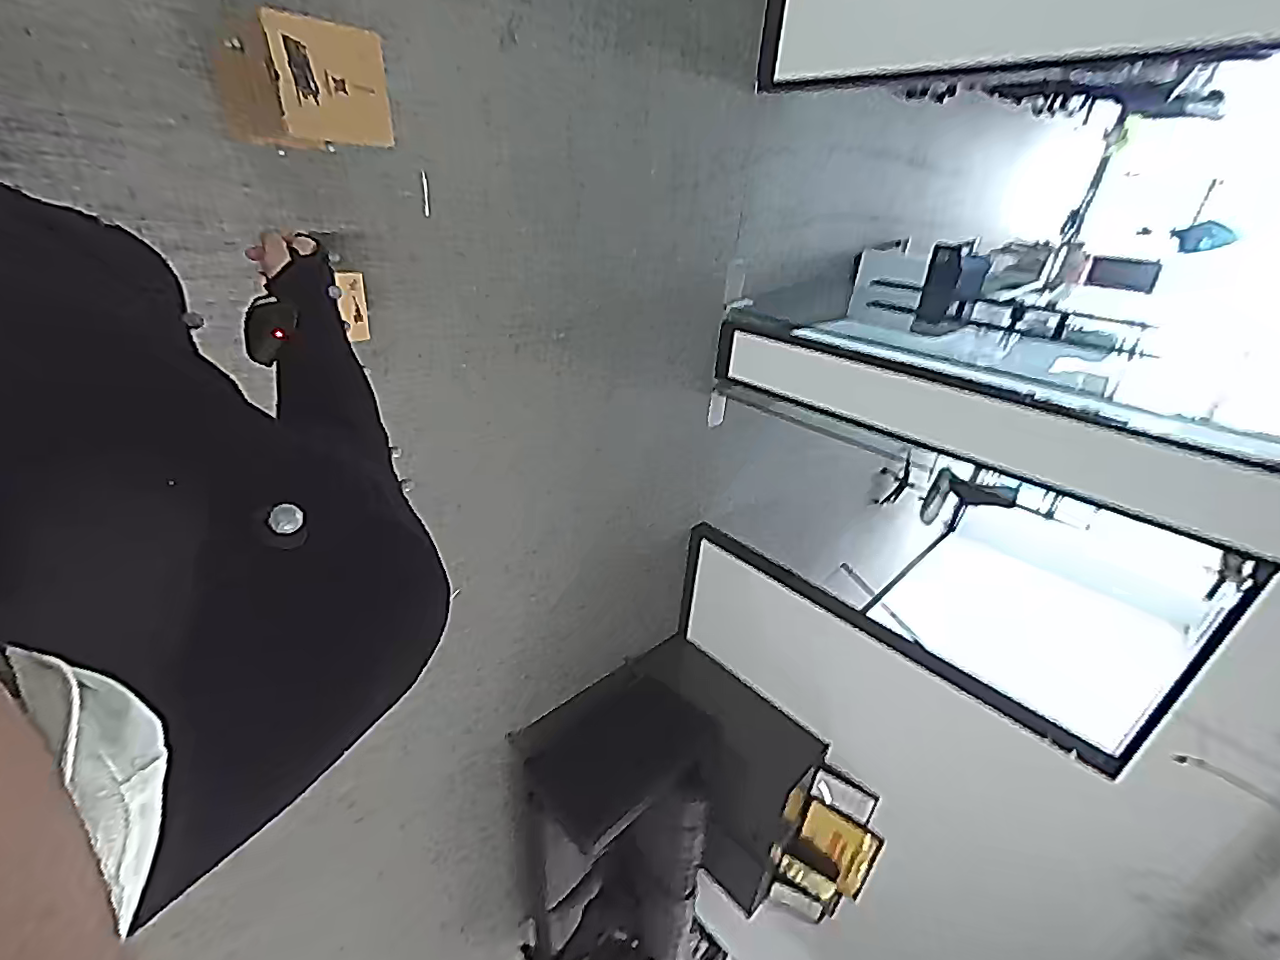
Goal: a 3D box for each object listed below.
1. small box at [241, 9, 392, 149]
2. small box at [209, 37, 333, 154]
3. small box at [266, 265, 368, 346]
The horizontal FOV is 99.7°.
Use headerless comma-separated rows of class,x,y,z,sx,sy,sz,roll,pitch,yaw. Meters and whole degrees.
small box,-0.563,-0.679,0.939,0.179,0.176,0.168,-23,128,-40
small box,-0.783,-0.805,1.149,0.168,0.176,0.179,-21,128,-40
small box,-0.806,-0.437,1.345,0.179,0.176,0.168,-19,126,-40
